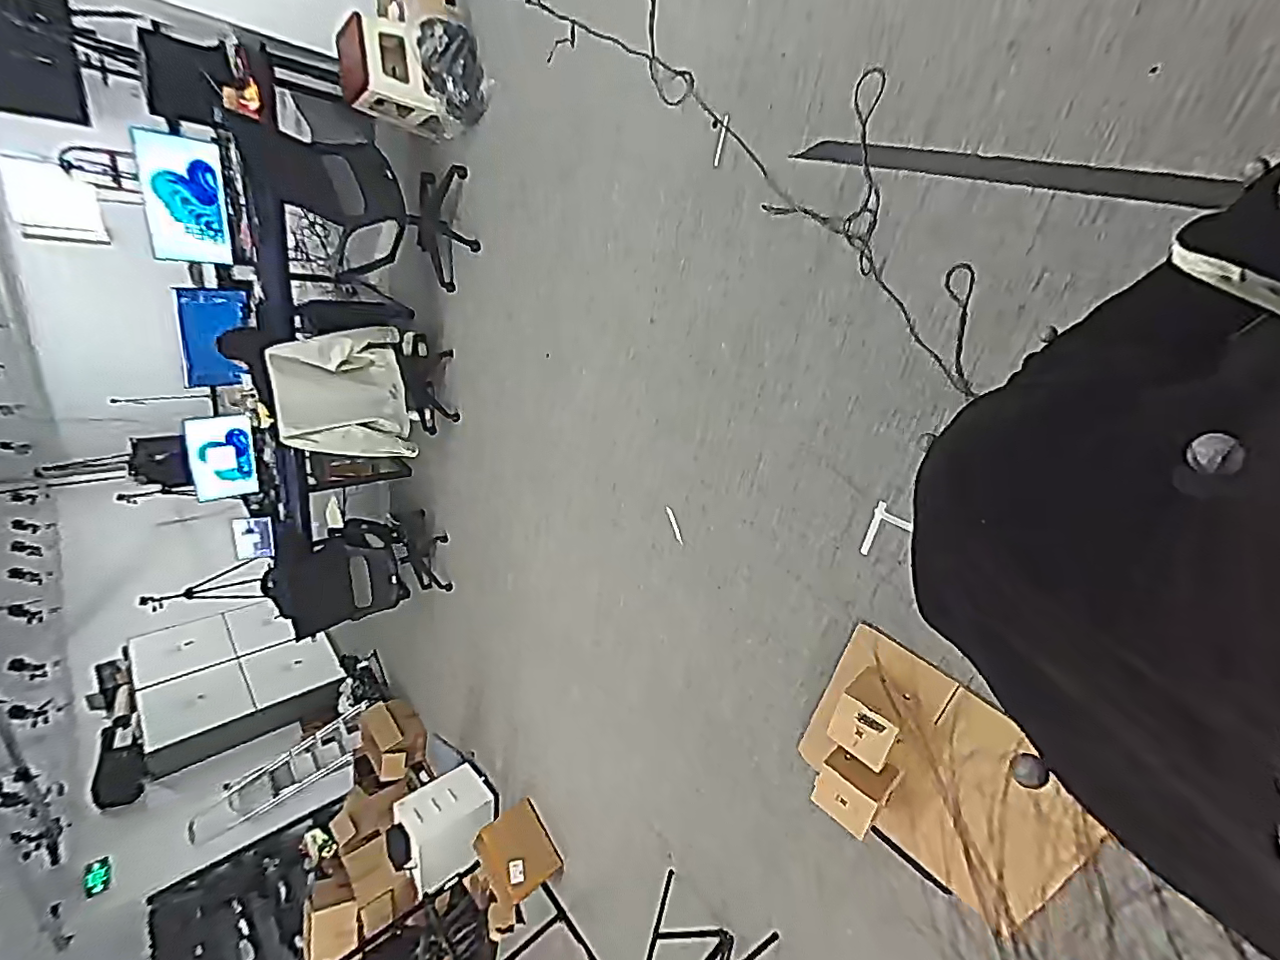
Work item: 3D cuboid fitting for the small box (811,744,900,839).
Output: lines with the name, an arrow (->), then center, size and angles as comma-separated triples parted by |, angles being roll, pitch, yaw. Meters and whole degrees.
small box -> 0.658, 0.929, 1.649 | 0.179, 0.176, 0.168 | 27, 120, 39

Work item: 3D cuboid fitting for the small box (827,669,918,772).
small box -> 0.676, 0.685, 1.561 | 0.168, 0.176, 0.179 | 30, 121, 38
